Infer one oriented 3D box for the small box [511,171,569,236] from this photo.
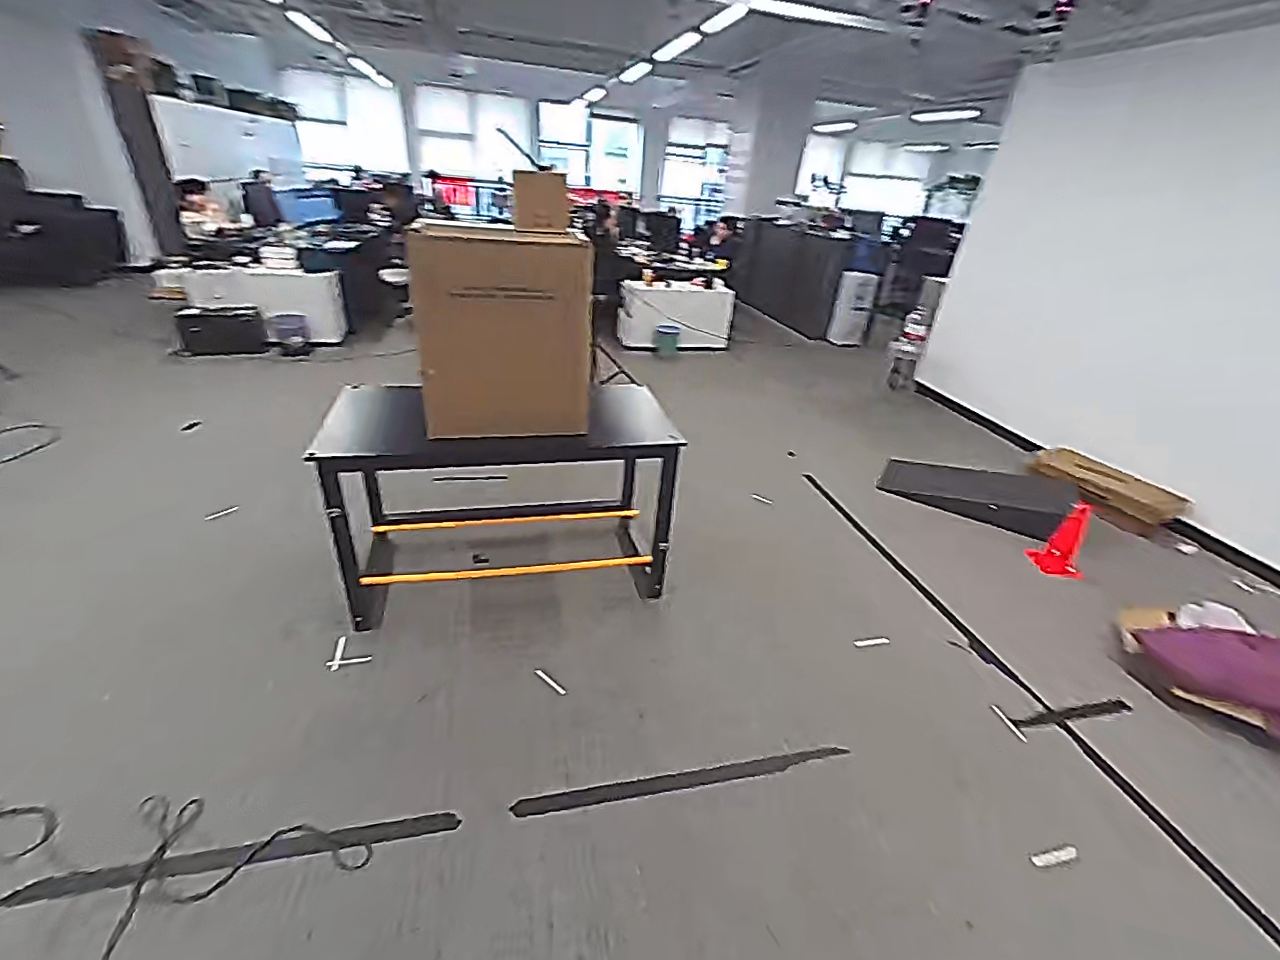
[{"bbox_3d":[-0.321,-0.880,1.720,0.168,0.176,0.179,-5,30,-15],"label":"small box"}]
